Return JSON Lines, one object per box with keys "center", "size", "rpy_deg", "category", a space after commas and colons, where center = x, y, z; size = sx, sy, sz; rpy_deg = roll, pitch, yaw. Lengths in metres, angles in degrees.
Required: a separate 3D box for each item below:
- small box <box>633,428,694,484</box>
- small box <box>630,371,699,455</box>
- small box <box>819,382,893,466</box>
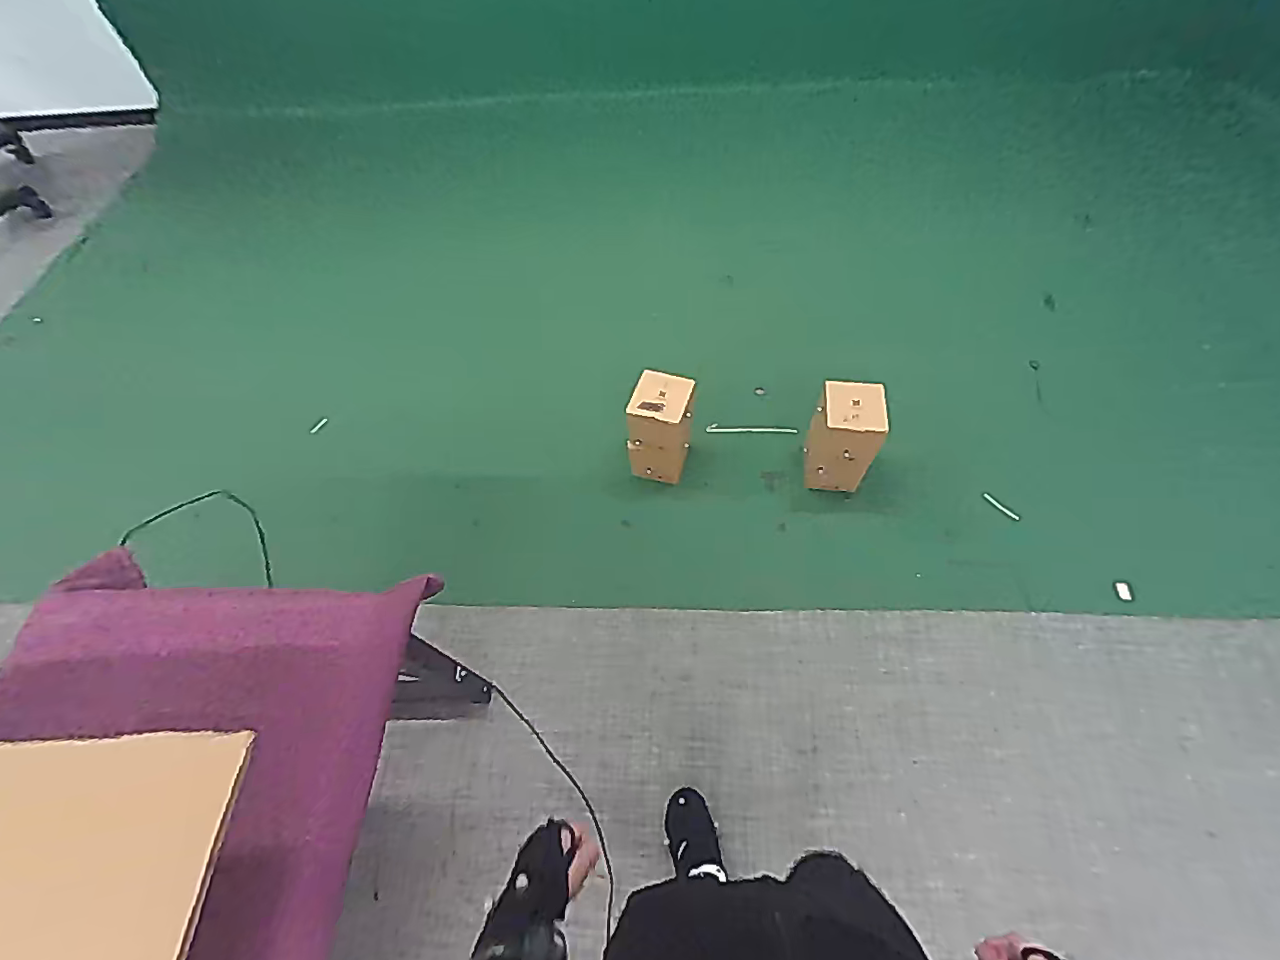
{"center": [0.082, -0.112, 1.806], "size": [0.168, 0.176, 0.179], "rpy_deg": [13, 62, 12], "category": "small box"}
{"center": [0.081, -0.203, 1.669], "size": [0.168, 0.176, 0.179], "rpy_deg": [16, 61, 13], "category": "small box"}
{"center": [0.631, -0.165, 1.602], "size": [0.168, 0.176, 0.179], "rpy_deg": [6, 60, 8], "category": "small box"}
